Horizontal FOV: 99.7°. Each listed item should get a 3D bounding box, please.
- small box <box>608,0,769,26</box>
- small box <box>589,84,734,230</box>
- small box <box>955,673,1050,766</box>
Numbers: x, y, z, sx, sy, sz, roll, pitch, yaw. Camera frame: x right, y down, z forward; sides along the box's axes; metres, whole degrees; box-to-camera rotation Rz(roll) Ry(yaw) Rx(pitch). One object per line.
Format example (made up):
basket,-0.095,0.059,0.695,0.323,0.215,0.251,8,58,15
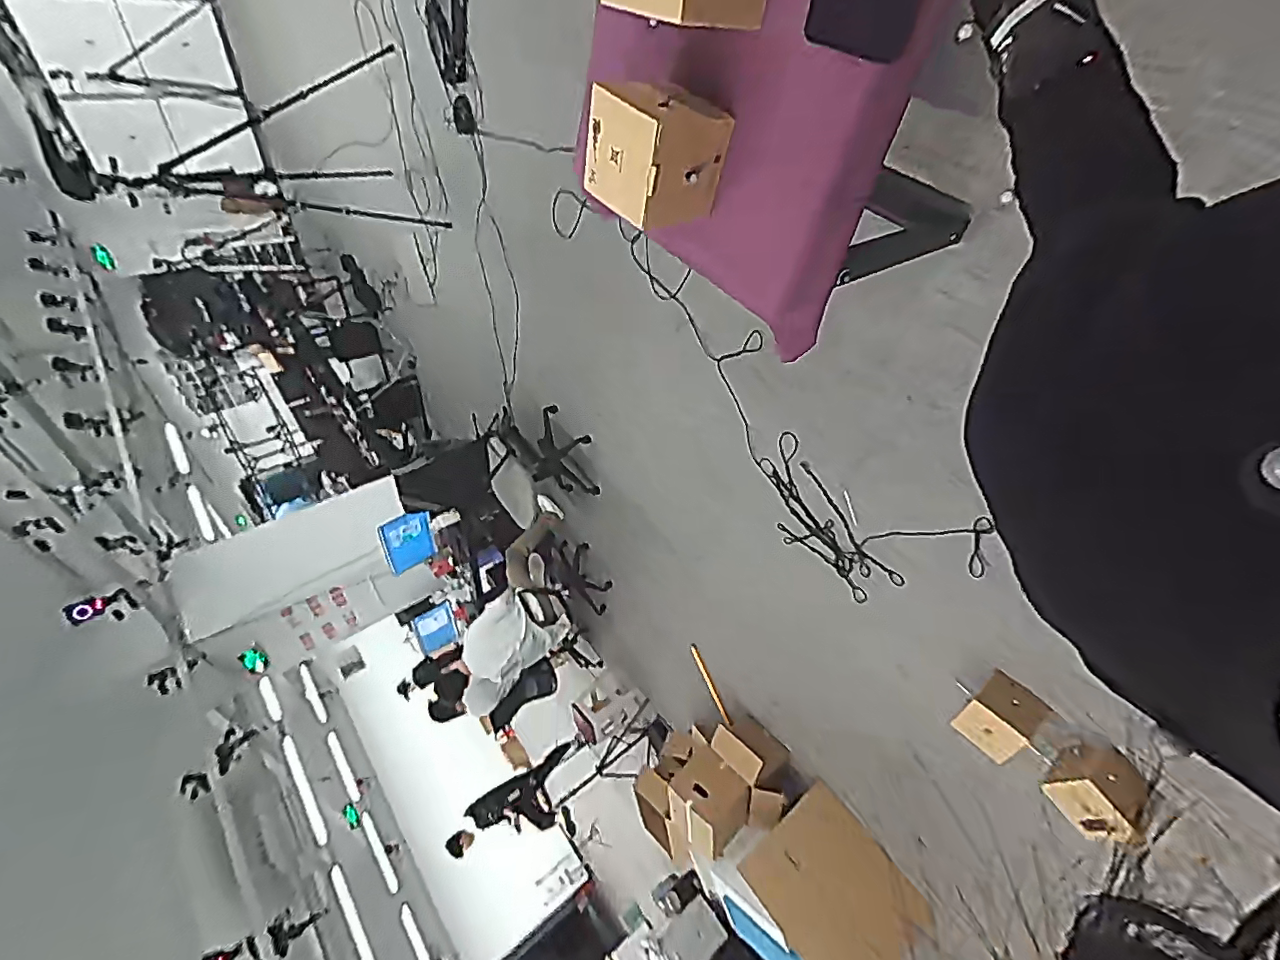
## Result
small box,0.076,-0.741,0.739,0.179,0.176,0.168,43,145,29
small box,0.035,-0.566,0.938,0.179,0.176,0.168,47,146,25
small box,1.136,0.742,1.689,0.168,0.176,0.179,41,143,33
